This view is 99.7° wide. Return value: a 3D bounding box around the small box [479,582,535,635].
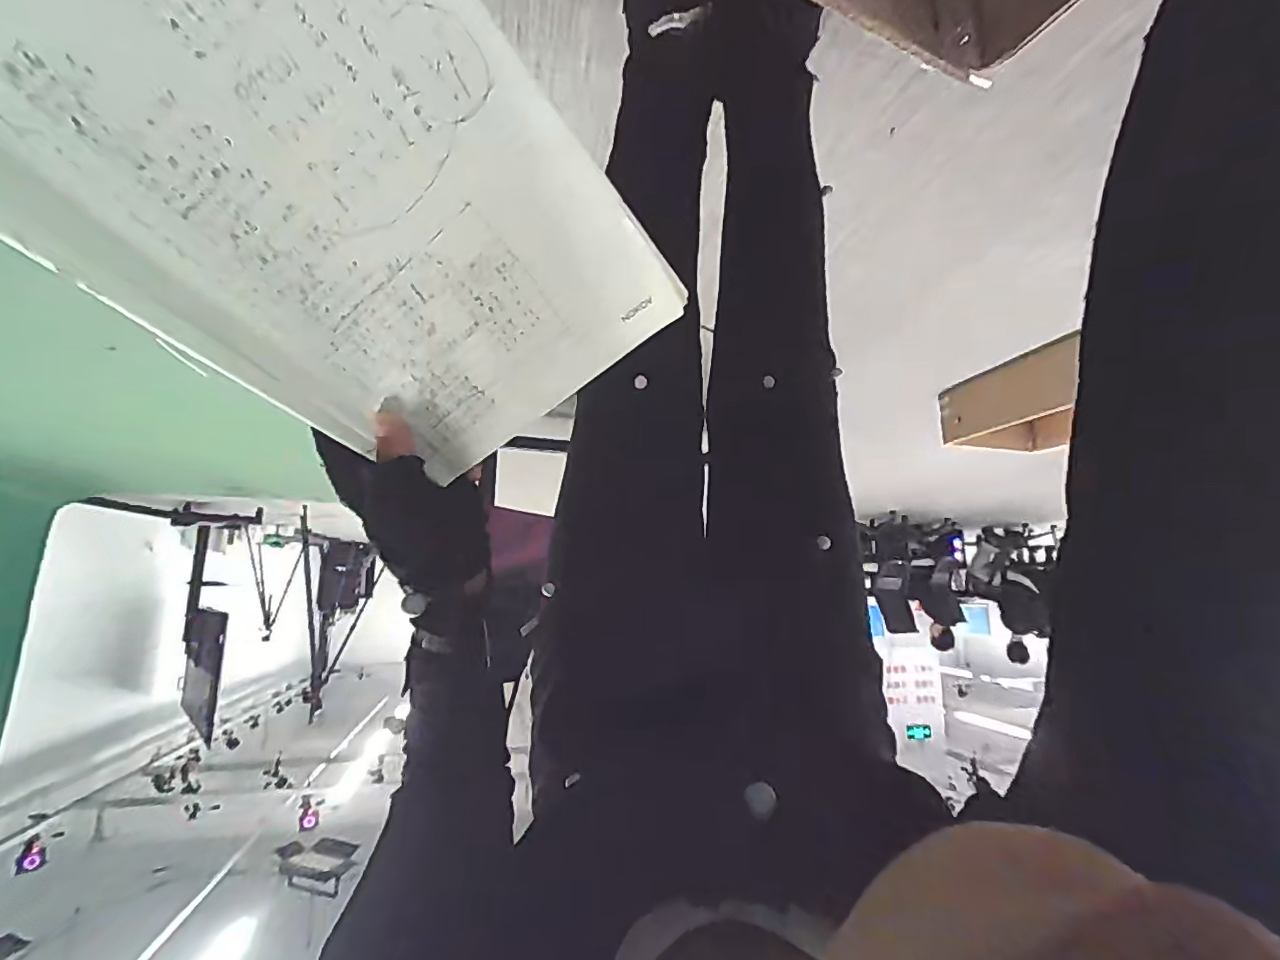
[{"bbox_3d":[-0.467,0.447,1.900,0.168,0.176,0.179,4,171,-22],"label":"small box"}]
